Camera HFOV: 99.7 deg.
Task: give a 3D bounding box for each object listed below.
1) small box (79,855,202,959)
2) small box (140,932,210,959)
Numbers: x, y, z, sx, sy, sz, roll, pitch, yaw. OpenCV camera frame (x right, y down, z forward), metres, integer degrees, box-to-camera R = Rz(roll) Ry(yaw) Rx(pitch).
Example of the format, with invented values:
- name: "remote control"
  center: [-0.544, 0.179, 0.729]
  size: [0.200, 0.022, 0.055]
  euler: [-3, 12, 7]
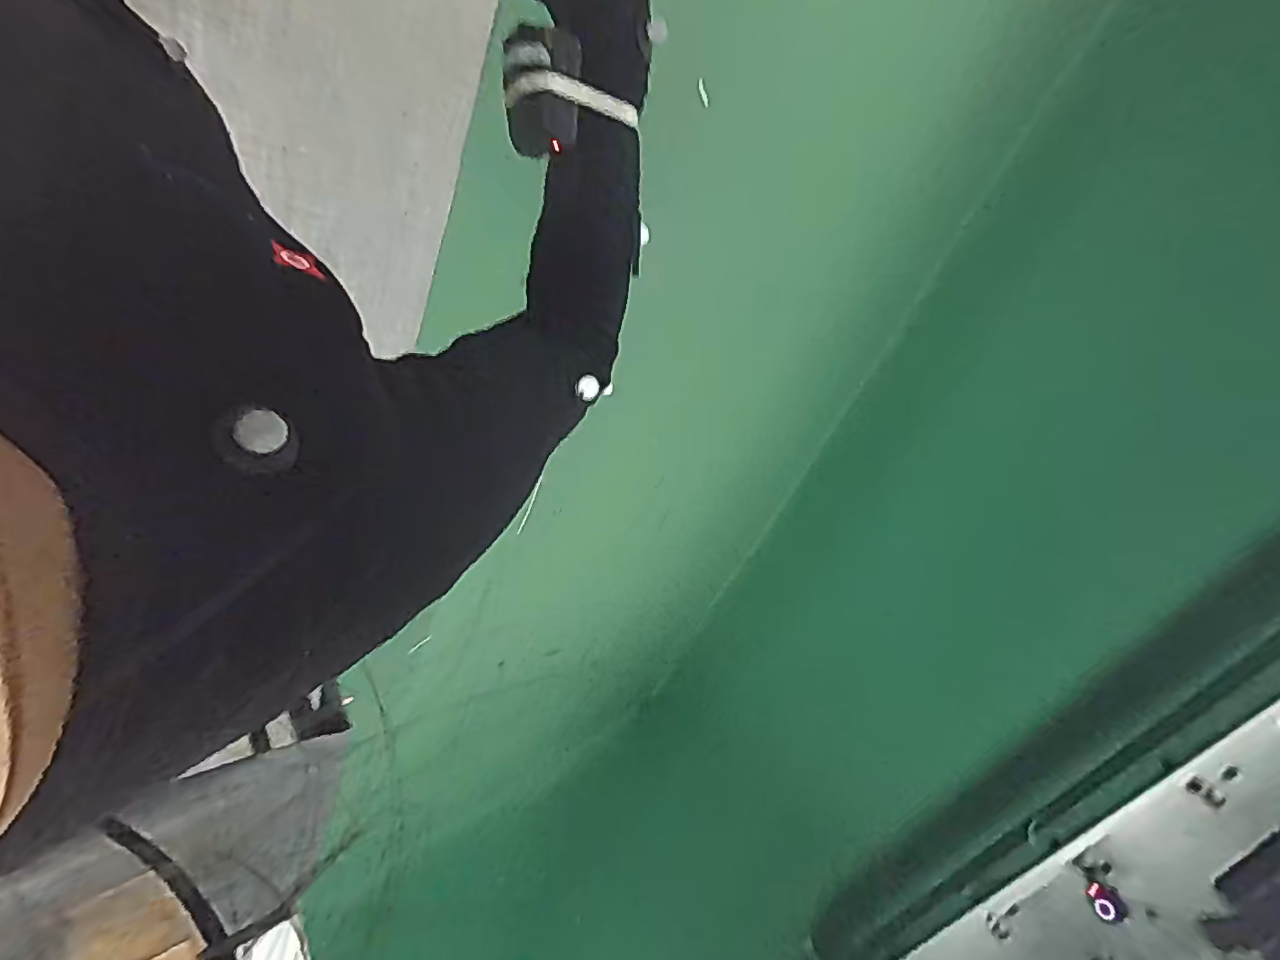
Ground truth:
- name: "small box"
  center: [-1.004, 0.913, 1.097]
  size: [0.168, 0.176, 0.179]
  euler: [-11, 135, -44]
- name: "small box"
  center: [-0.902, 1.002, 1.008]
  size: [0.168, 0.176, 0.179]
  euler: [-10, 133, -44]
